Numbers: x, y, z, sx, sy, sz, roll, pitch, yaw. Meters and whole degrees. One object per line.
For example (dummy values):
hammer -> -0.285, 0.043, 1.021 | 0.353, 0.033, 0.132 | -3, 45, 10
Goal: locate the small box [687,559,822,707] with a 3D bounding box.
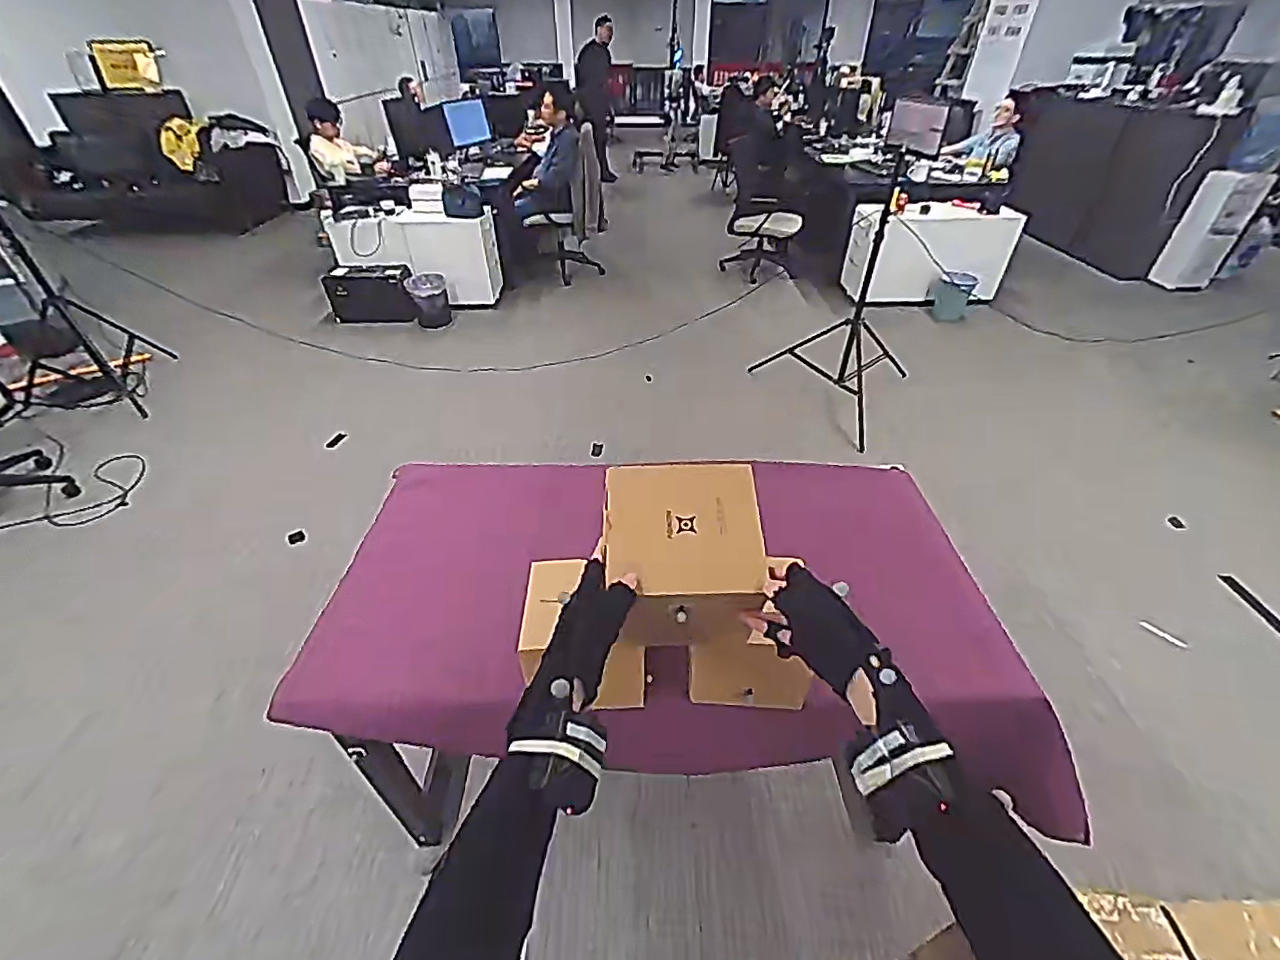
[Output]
small box -> 0.169, 0.240, 0.859 | 0.179, 0.176, 0.168 | 3, 38, 3

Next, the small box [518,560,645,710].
small box -> -0.081, 0.244, 0.855 | 0.179, 0.176, 0.168 | -2, 38, 0

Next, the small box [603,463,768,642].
small box -> 0.047, 0.095, 0.673 | 0.179, 0.176, 0.168 | -1, 55, -1
